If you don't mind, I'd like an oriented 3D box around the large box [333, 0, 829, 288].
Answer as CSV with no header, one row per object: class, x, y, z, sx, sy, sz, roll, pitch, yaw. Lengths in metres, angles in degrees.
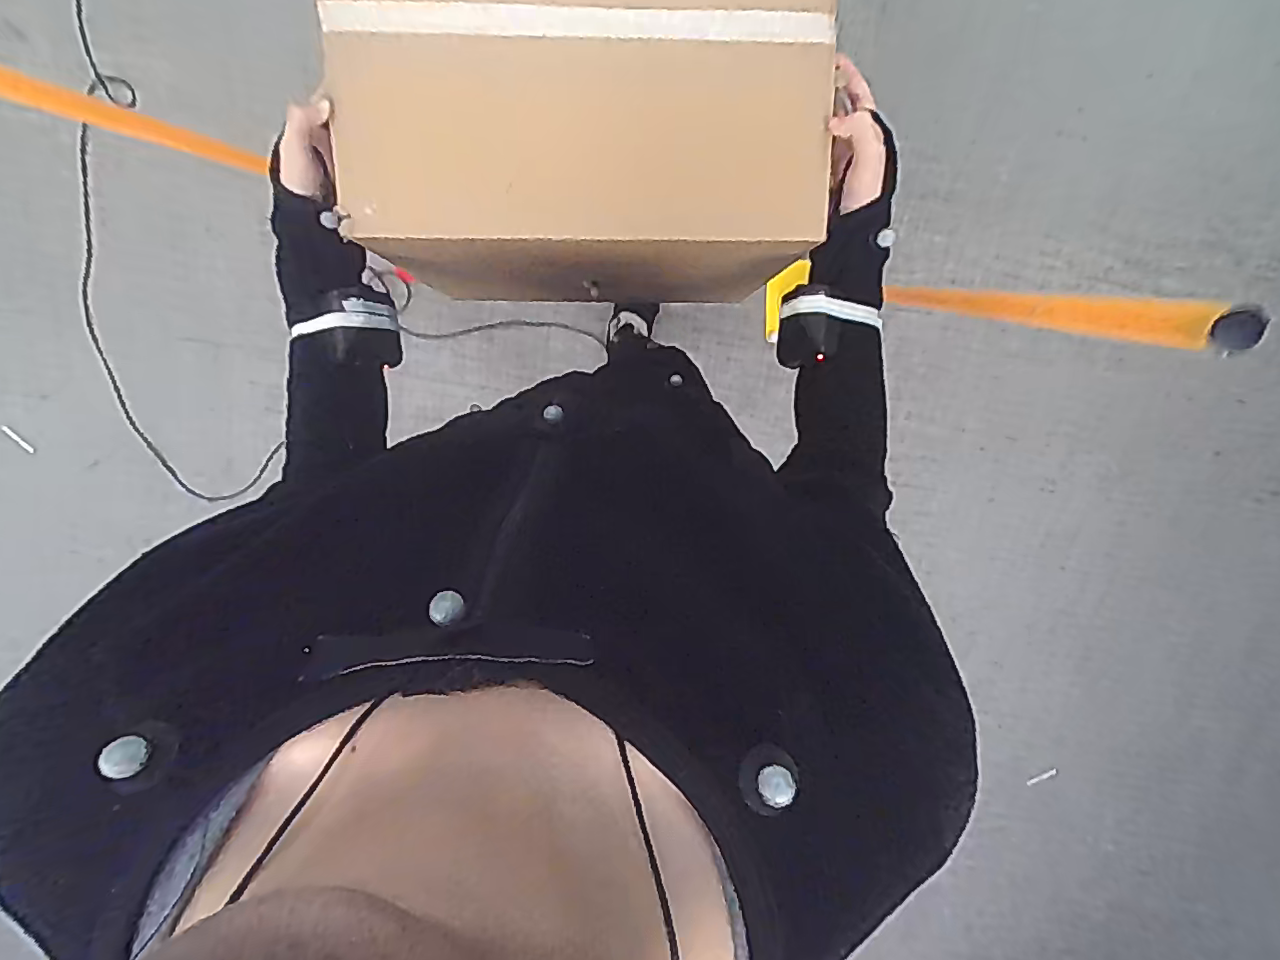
large box,-0.049,-0.390,0.582,0.408,0.320,0.320,-1,99,-2
